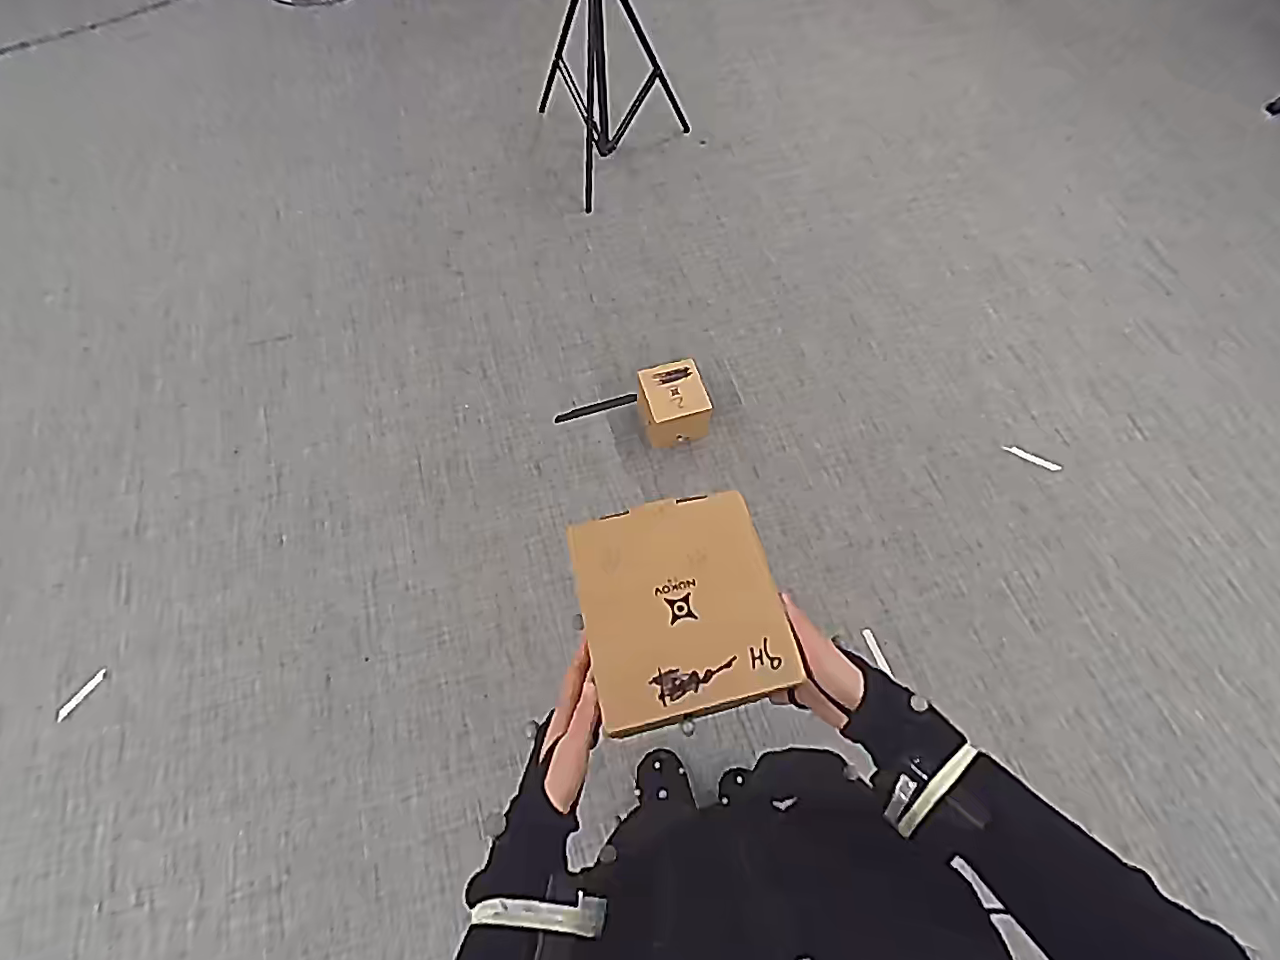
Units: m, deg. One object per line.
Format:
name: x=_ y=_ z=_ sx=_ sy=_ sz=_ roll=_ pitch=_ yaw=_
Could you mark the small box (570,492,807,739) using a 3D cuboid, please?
small box: x=0.032 y=0.137 z=0.521 sx=0.168 sy=0.176 sz=0.179 roll=-12 pitch=64 yaw=-6
